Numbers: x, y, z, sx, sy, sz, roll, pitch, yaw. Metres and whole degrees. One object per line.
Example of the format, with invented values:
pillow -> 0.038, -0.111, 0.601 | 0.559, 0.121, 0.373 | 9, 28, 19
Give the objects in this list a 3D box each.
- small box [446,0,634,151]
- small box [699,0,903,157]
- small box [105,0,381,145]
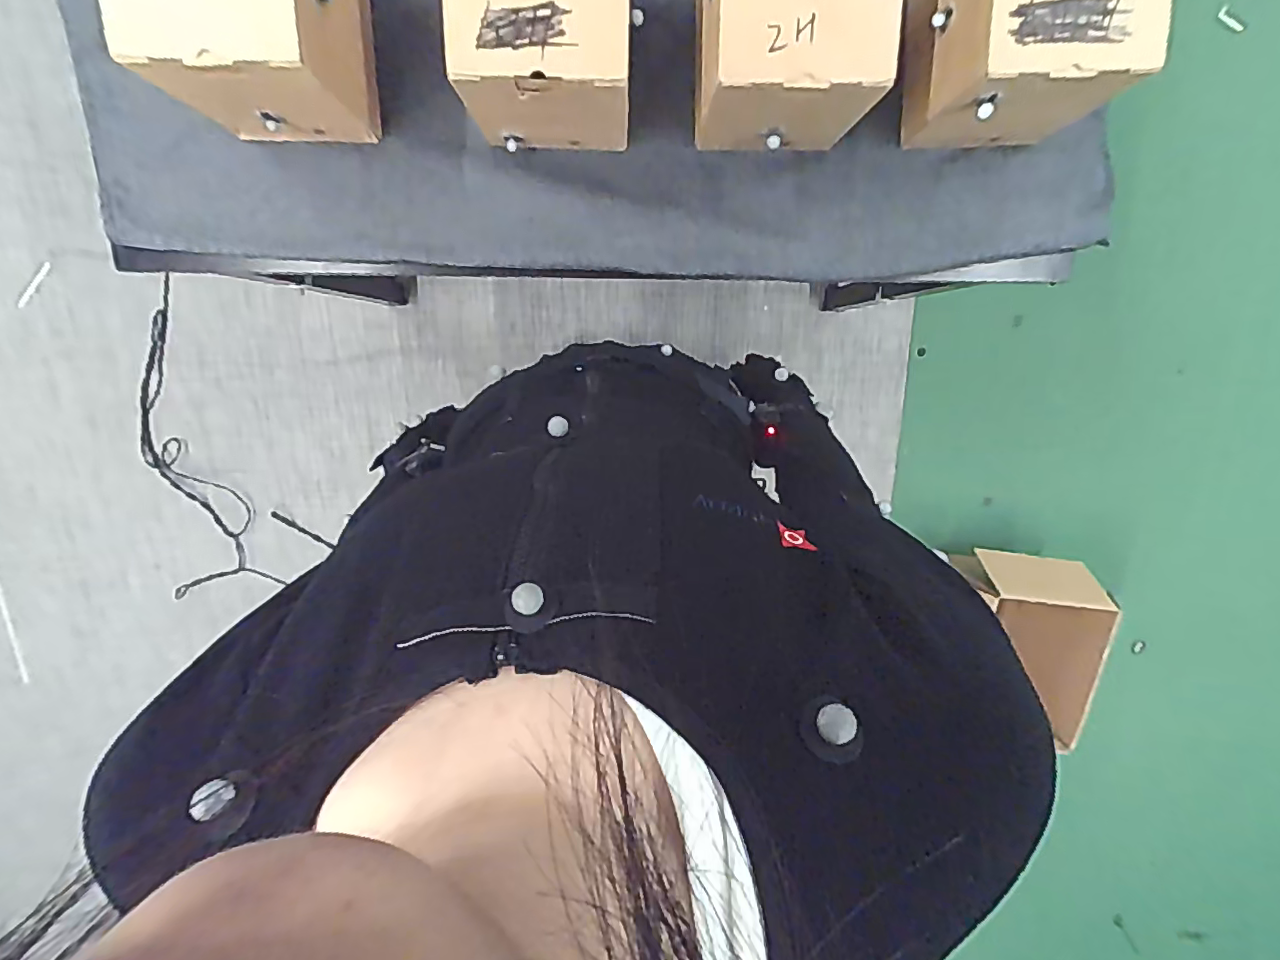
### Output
small box -> -0.090, -0.459, 0.550 | 0.168, 0.176, 0.179 | 1, 102, -3
small box -> 0.152, -0.462, 0.558 | 0.168, 0.176, 0.179 | -1, 103, -1
small box -> -0.378, -0.465, 0.537 | 0.168, 0.176, 0.179 | -1, 102, -3
